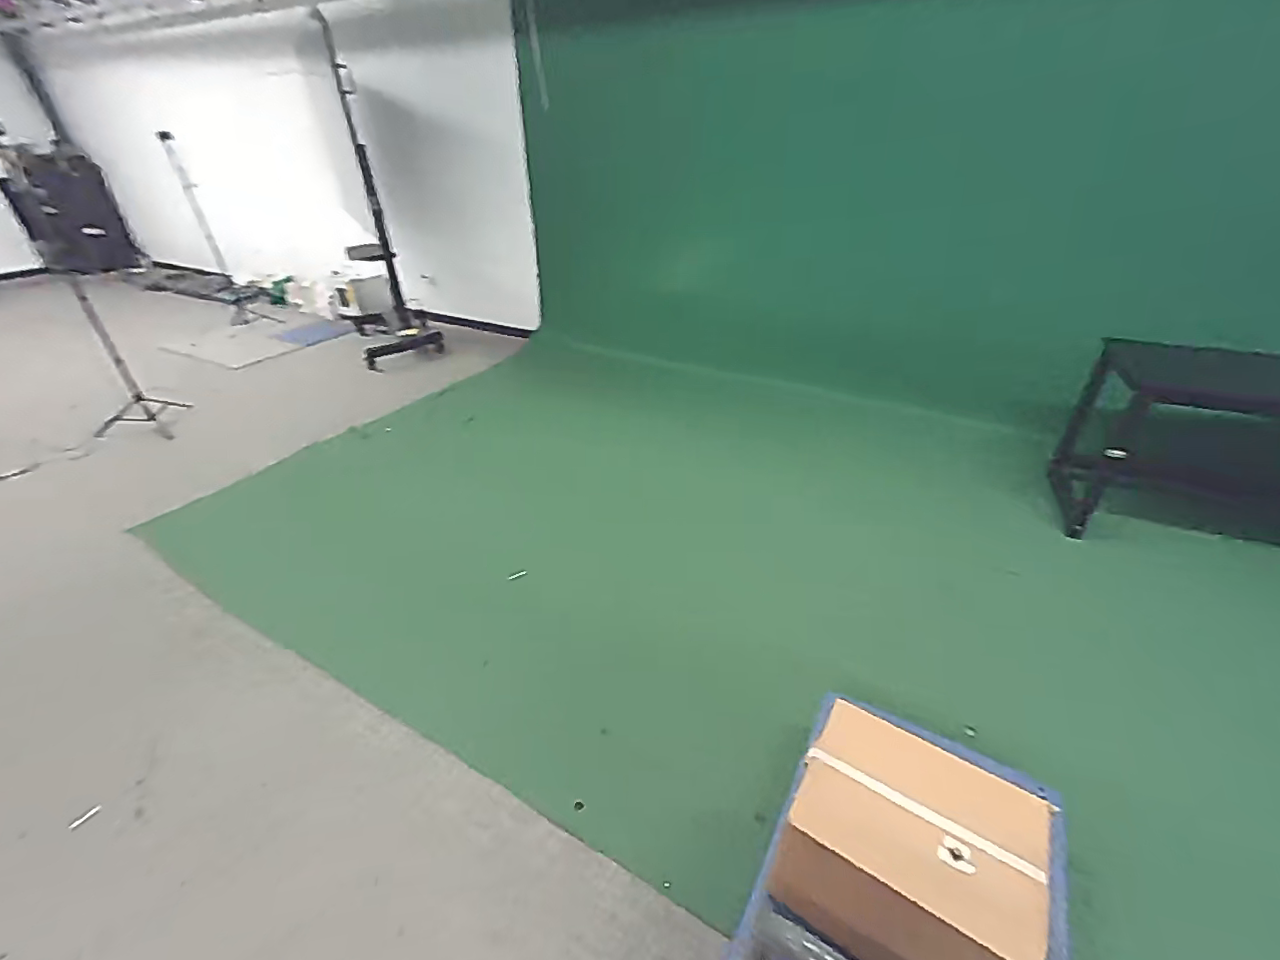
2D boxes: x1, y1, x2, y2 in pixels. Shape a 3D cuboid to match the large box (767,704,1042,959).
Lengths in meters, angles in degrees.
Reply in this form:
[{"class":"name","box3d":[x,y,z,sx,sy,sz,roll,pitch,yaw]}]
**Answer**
[{"class":"large box","box3d":[0.518,0.753,1.099,0.408,0.320,0.320,21,38,28]}]
